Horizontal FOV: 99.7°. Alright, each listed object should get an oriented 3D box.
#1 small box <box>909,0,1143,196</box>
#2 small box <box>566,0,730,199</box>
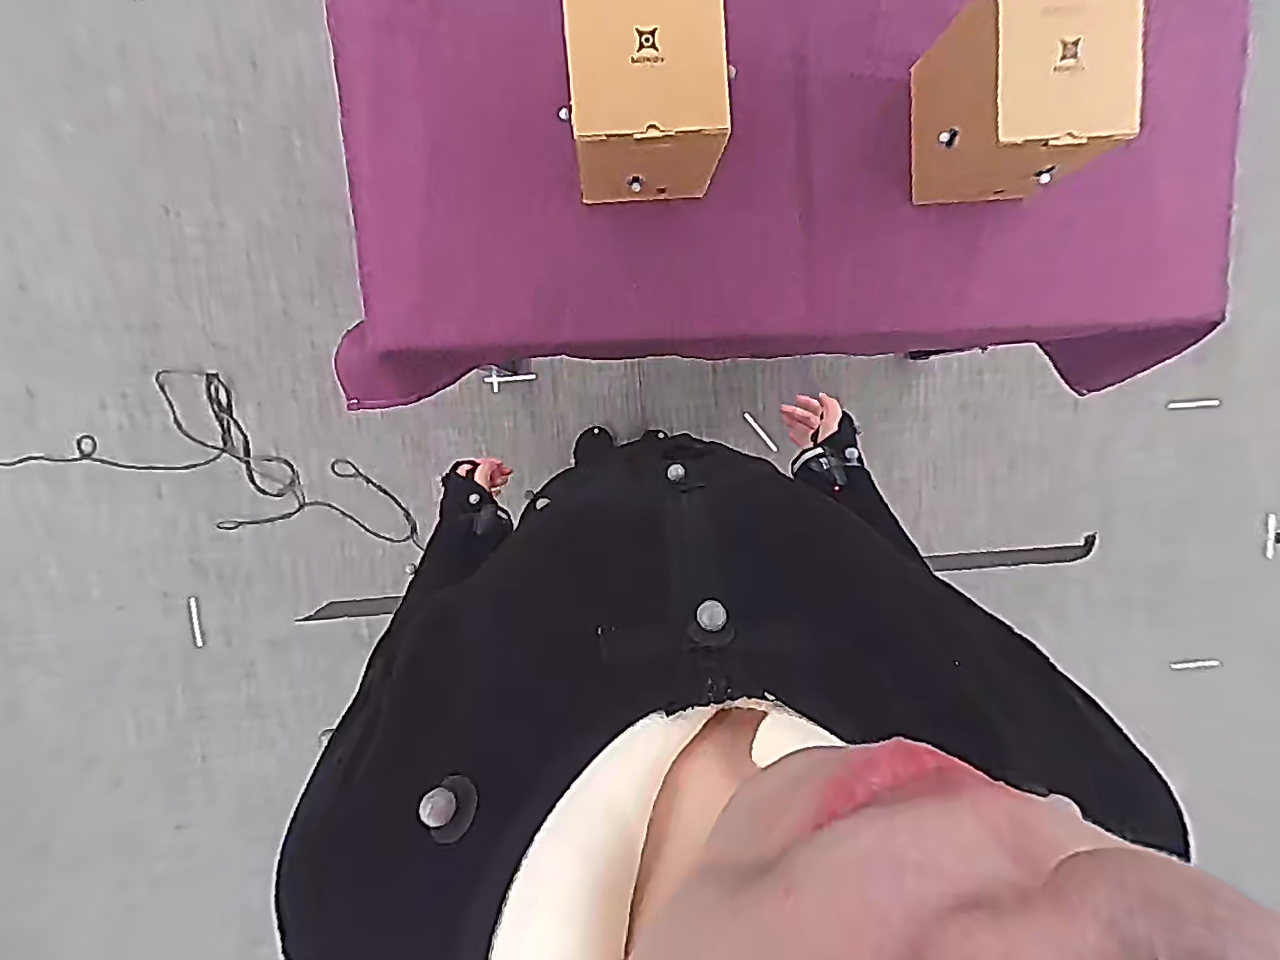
[{"bbox_3d":[0.451,-0.464,0.658,0.168,0.176,0.179,-4,96,-3],"label":"small box"},{"bbox_3d":[0.002,-0.455,0.633,0.168,0.176,0.179,-5,98,-3],"label":"small box"}]
